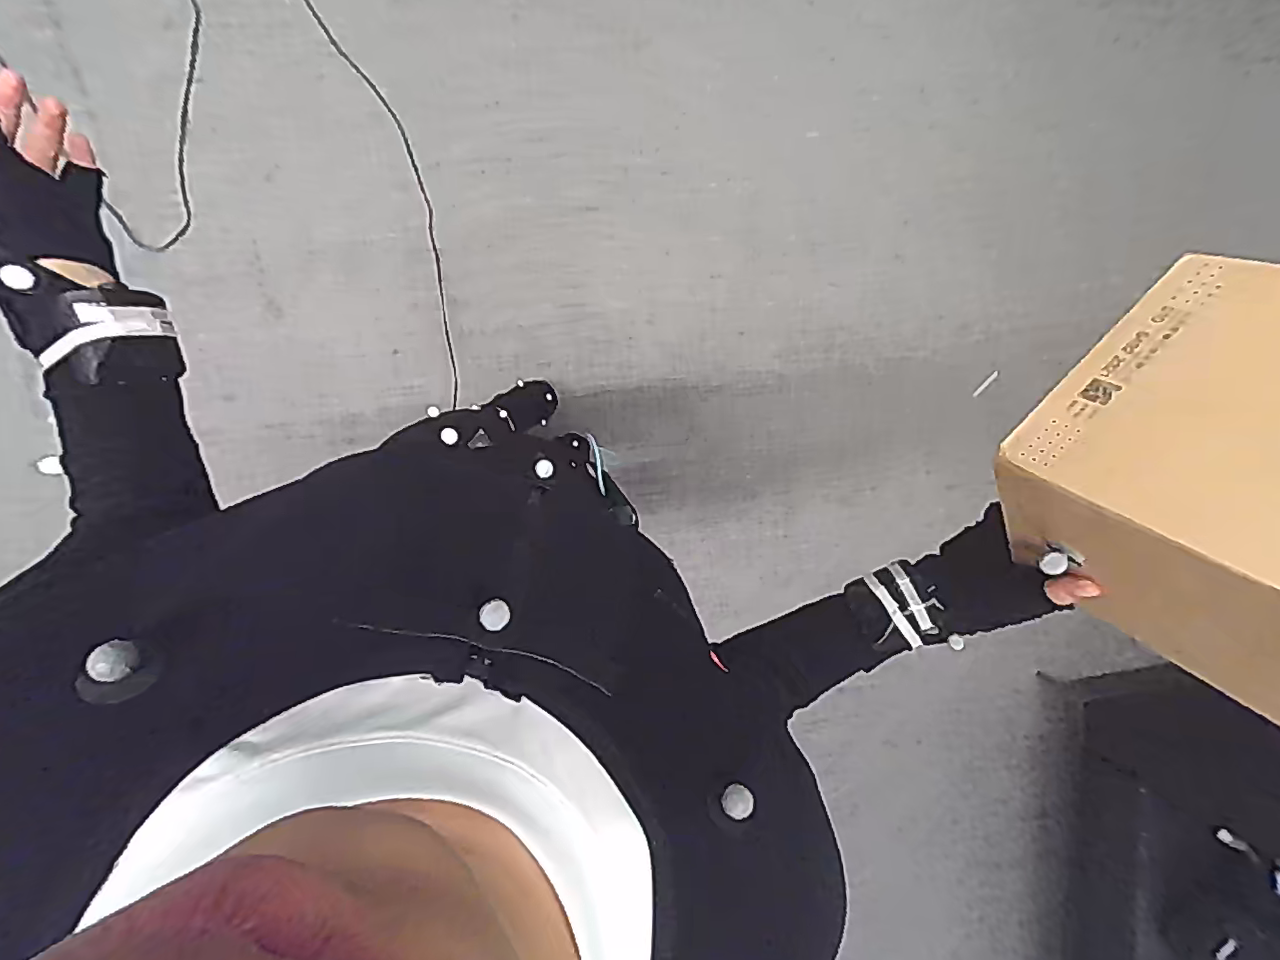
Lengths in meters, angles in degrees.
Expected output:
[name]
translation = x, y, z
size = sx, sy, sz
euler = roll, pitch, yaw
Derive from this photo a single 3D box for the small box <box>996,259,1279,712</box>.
[small box]
translation = 0.347, 0.000, 0.317
size = 0.168, 0.176, 0.179
euler = -48, 133, 1
